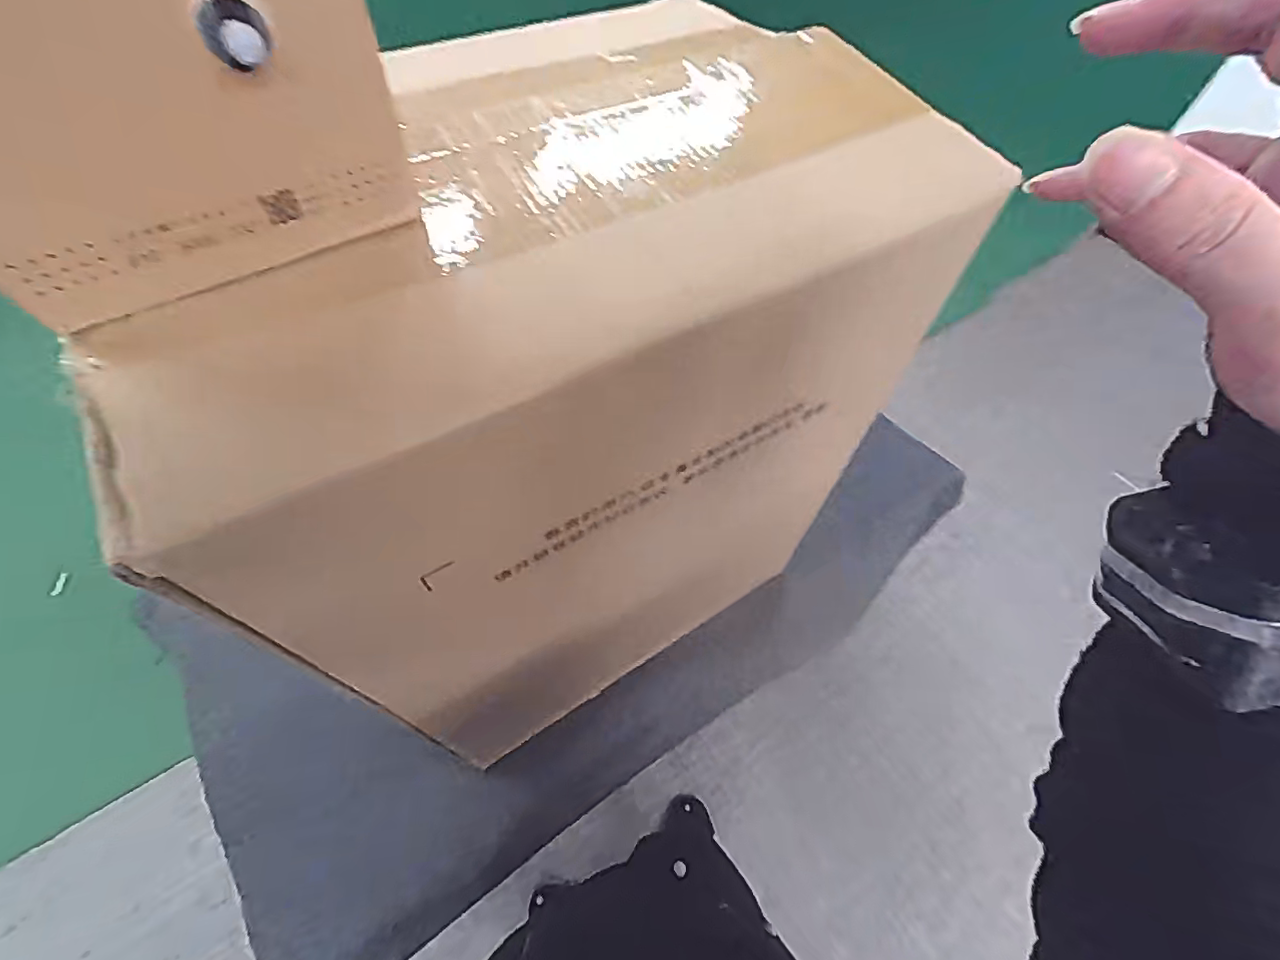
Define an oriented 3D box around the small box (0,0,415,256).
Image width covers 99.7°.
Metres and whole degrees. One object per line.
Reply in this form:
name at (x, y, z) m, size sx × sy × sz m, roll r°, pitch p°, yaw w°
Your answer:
small box at (-0.211, -0.210, 0.204) m, size 0.168 × 0.176 × 0.179 m, roll -30°, pitch 67°, yaw -23°
